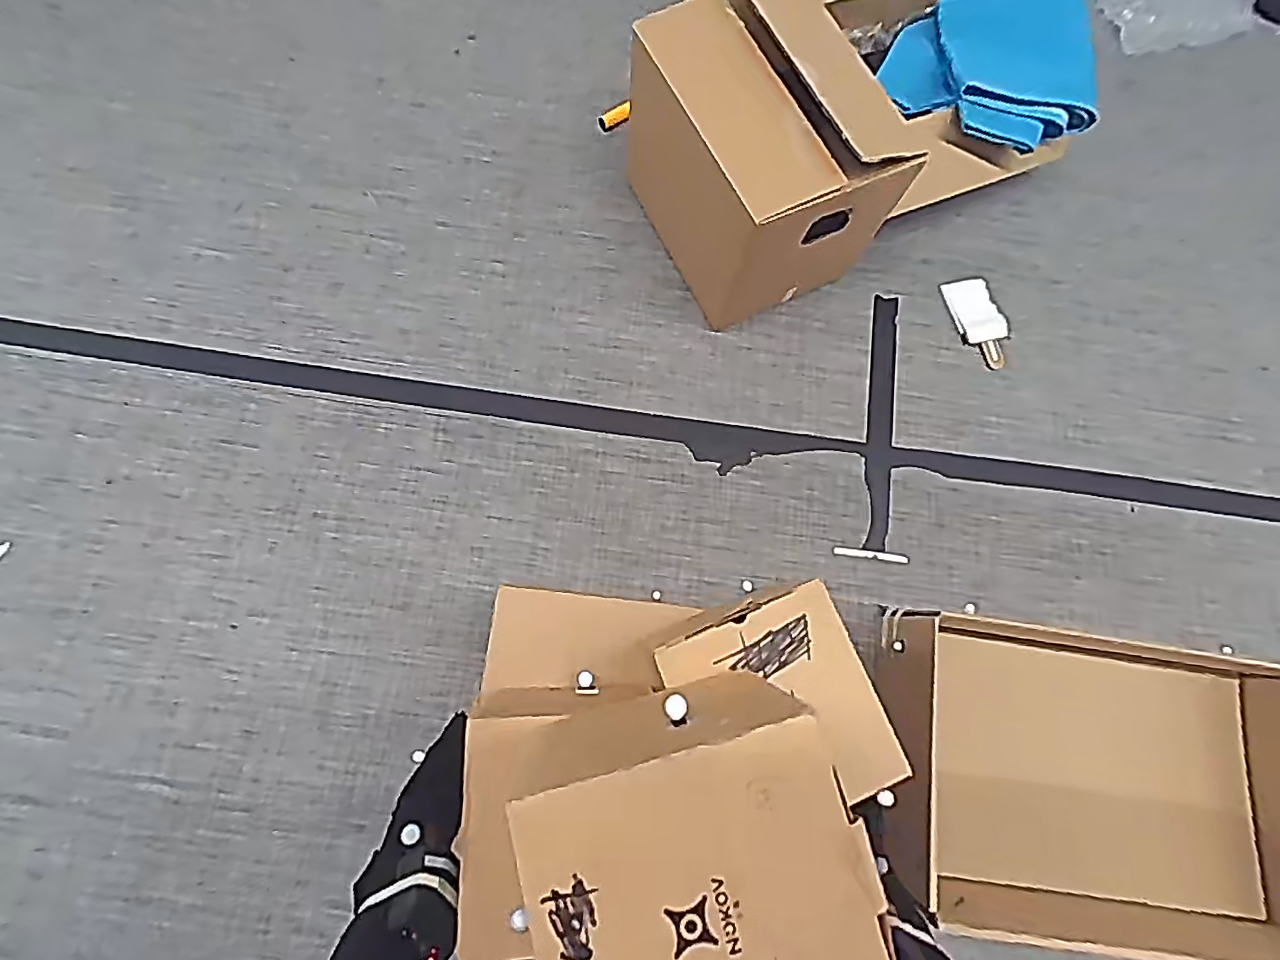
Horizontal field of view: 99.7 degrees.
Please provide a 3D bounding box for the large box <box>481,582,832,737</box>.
[{"bbox_3d":[0.006,0.319,0.745,0.408,0.320,0.320,7,78,-3],"label":"large box"}]

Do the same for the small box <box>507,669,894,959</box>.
[{"bbox_3d":[0.028,0.233,0.349,0.179,0.176,0.168,-14,79,-6],"label":"small box"}]

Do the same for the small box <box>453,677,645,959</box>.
[{"bbox_3d":[-0.066,0.288,0.500,0.168,0.176,0.179,-1,76,-6],"label":"small box"}]
